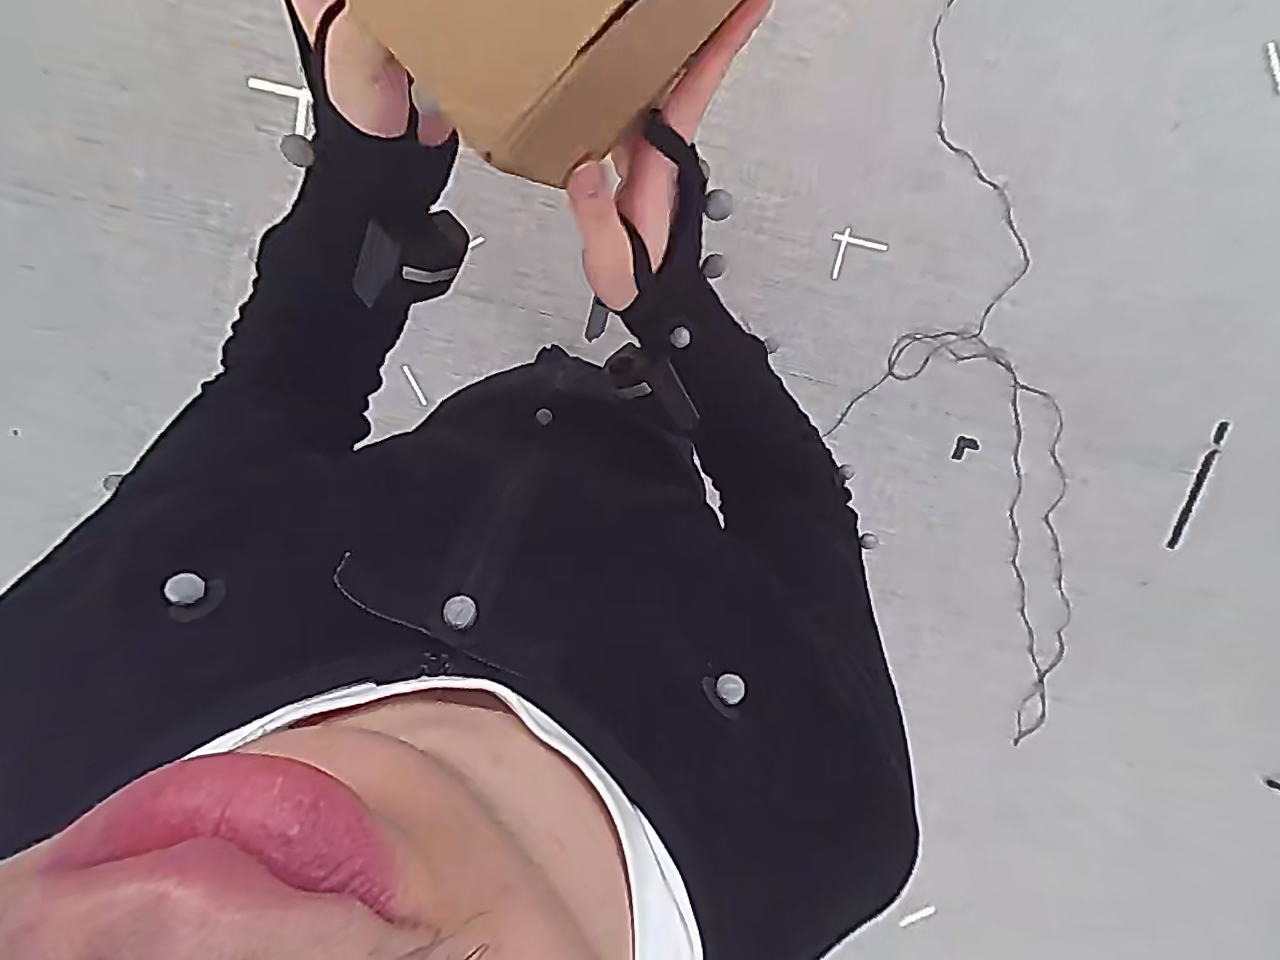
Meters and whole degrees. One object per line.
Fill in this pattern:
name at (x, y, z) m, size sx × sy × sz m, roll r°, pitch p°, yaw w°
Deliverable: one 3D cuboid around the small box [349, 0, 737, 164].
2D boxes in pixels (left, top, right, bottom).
small box at (-0.036, -0.227, 0.165) m, size 0.168 × 0.176 × 0.179 m, roll -39°, pitch 109°, yaw 16°
